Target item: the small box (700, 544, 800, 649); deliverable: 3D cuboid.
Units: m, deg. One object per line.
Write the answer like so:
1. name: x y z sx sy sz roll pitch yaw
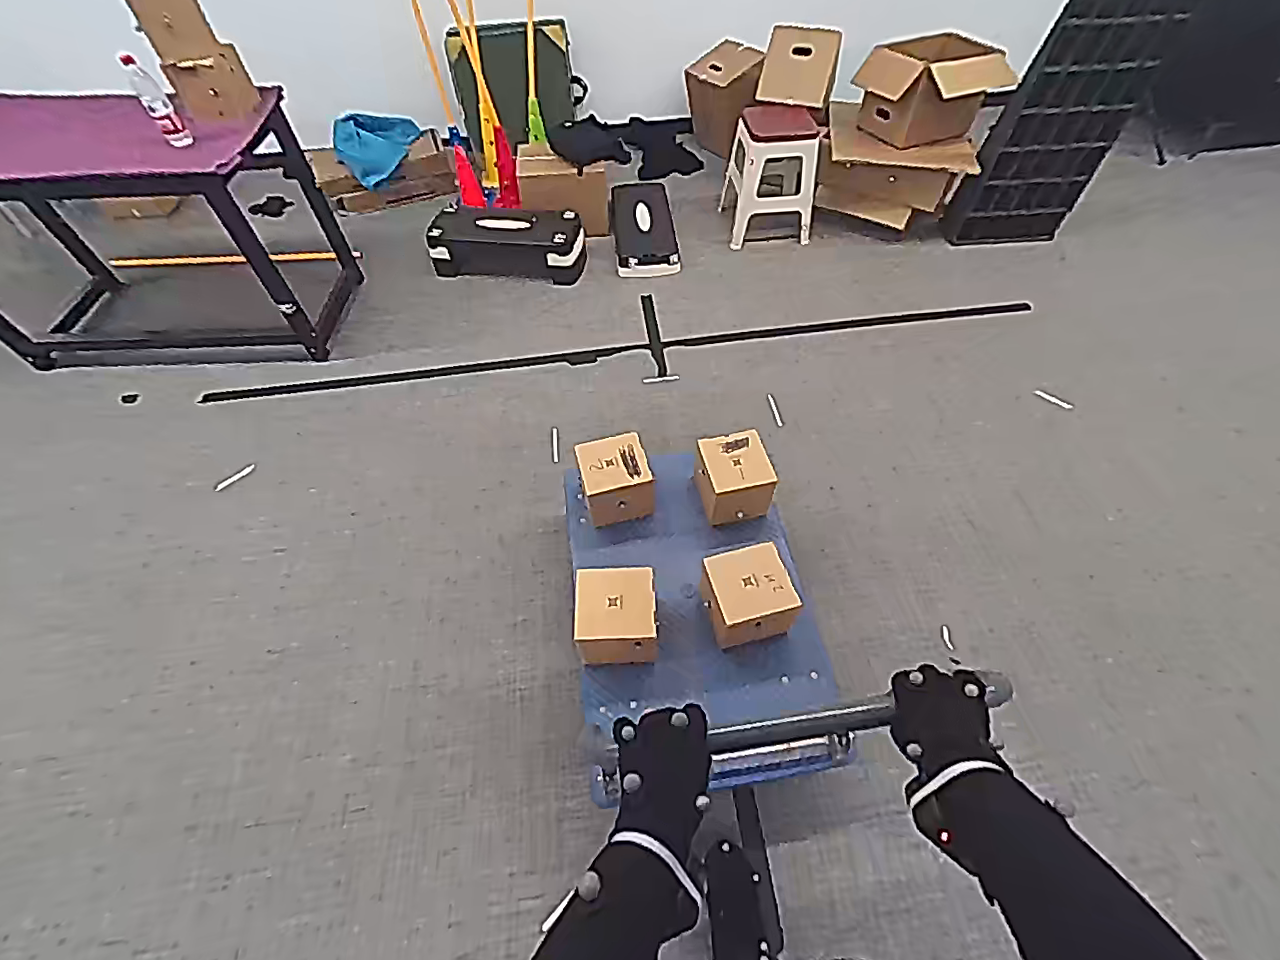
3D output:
1. small box: 0.244 0.275 1.256 0.179 0.176 0.168 -13 56 -7

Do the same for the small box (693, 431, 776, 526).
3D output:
1. small box: 0.244 -0.002 1.449 0.168 0.176 0.179 -11 57 -6

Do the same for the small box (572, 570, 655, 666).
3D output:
1. small box: -0.057 0.318 1.236 0.179 0.176 0.168 -2 55 -1
